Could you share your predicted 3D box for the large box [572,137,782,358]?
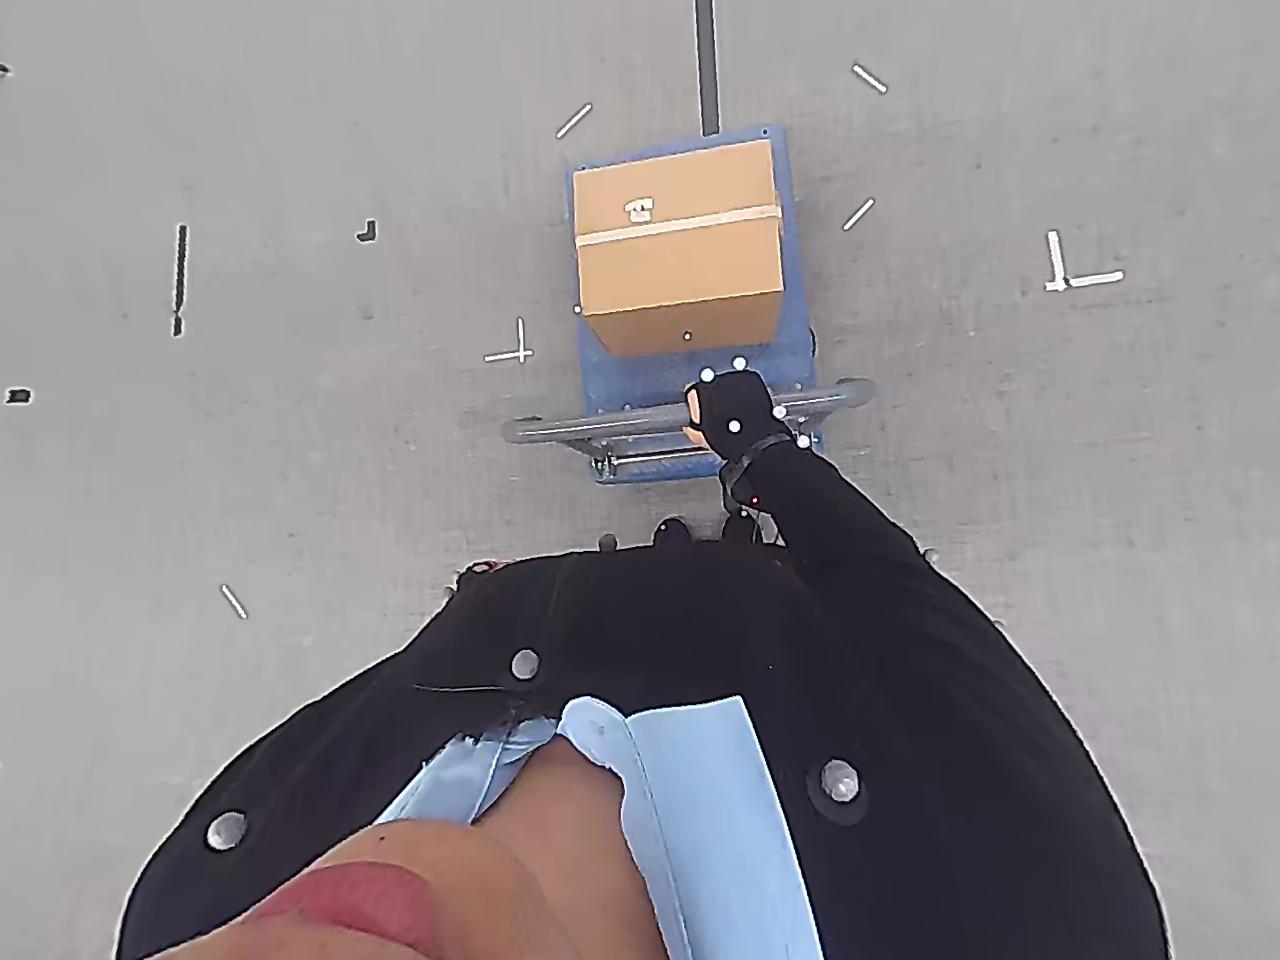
[{"bbox_3d":[0.092,-0.487,1.215,0.408,0.320,0.320,-5,84,11],"label":"large box"}]
